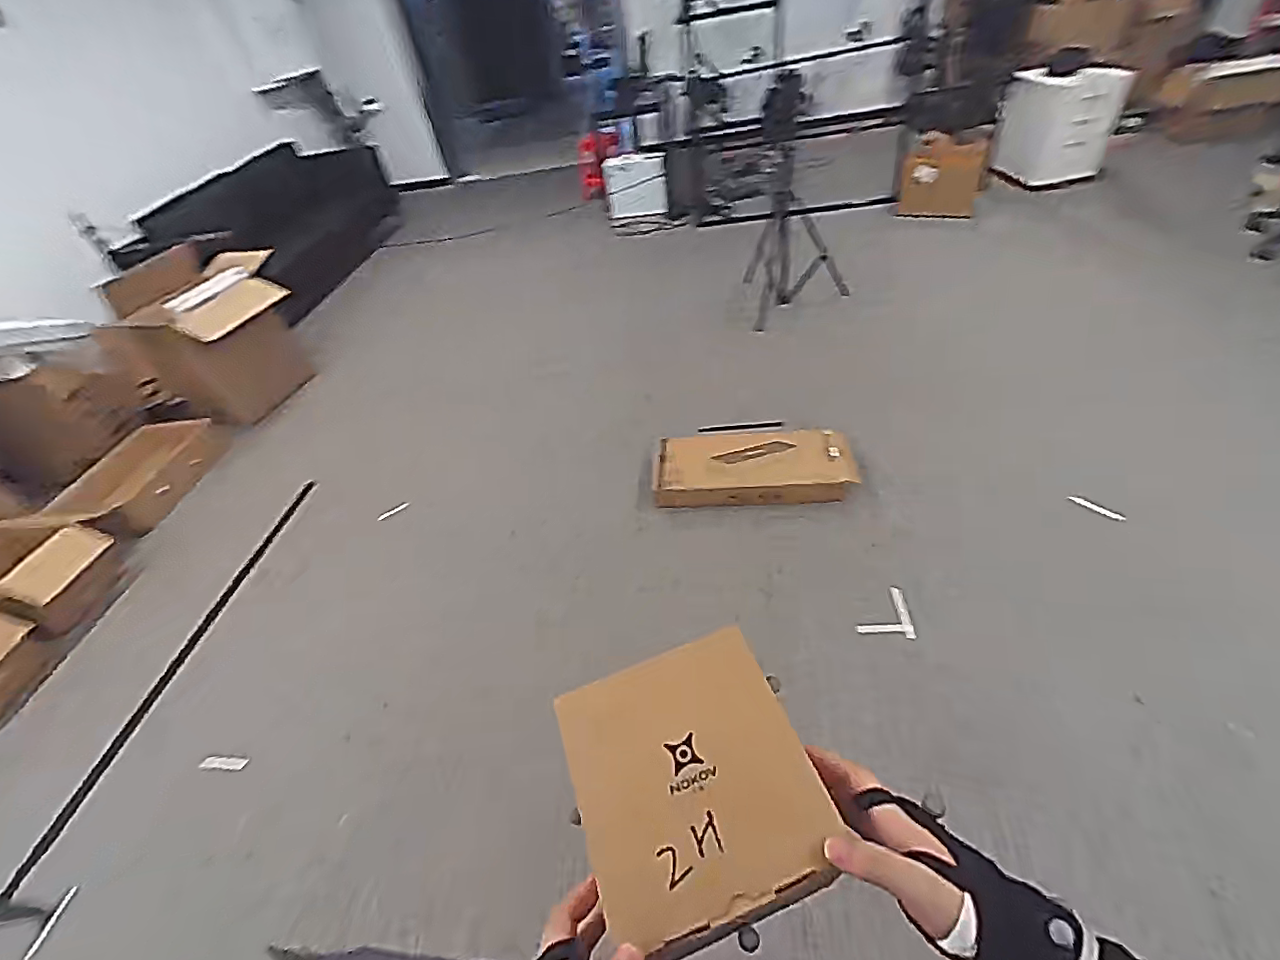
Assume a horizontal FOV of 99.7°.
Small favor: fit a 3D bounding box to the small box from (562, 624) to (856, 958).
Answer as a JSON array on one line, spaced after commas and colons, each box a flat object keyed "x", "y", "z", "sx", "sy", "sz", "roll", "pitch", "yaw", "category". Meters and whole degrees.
[{"x": 0.048, "y": 0.258, "z": 0.450, "sx": 0.168, "sy": 0.176, "sz": 0.179, "roll": -20, "pitch": 47, "yaw": -6, "category": "small box"}]
